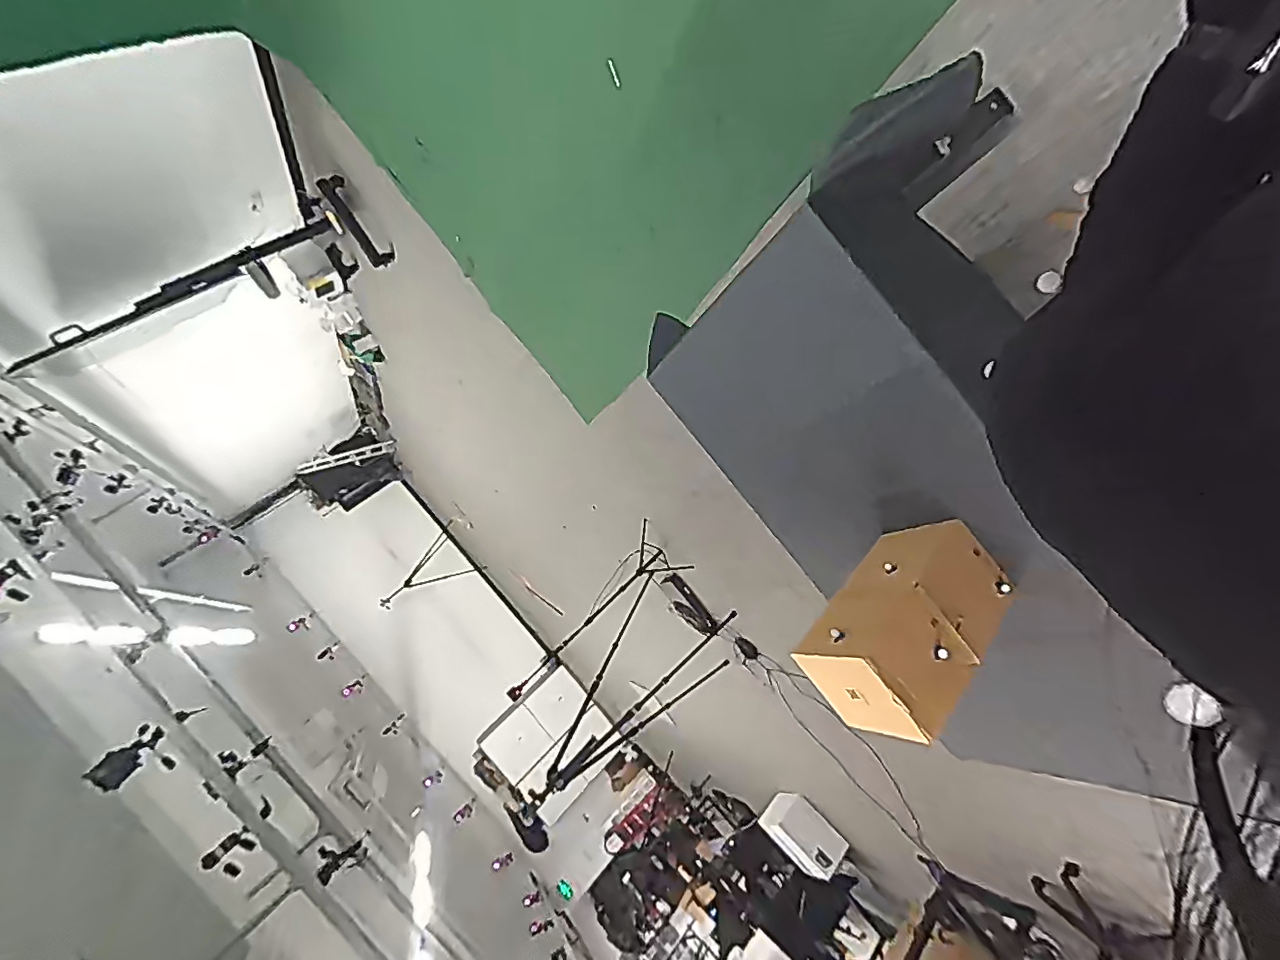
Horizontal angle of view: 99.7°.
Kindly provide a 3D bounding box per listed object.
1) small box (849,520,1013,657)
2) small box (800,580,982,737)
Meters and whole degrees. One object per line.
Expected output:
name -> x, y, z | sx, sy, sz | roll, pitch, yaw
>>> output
small box -> 0.522, 0.191, 0.961 | 0.168, 0.176, 0.179 | 51, 155, -1
small box -> 0.410, 0.284, 0.889 | 0.168, 0.176, 0.179 | 51, 154, -2
